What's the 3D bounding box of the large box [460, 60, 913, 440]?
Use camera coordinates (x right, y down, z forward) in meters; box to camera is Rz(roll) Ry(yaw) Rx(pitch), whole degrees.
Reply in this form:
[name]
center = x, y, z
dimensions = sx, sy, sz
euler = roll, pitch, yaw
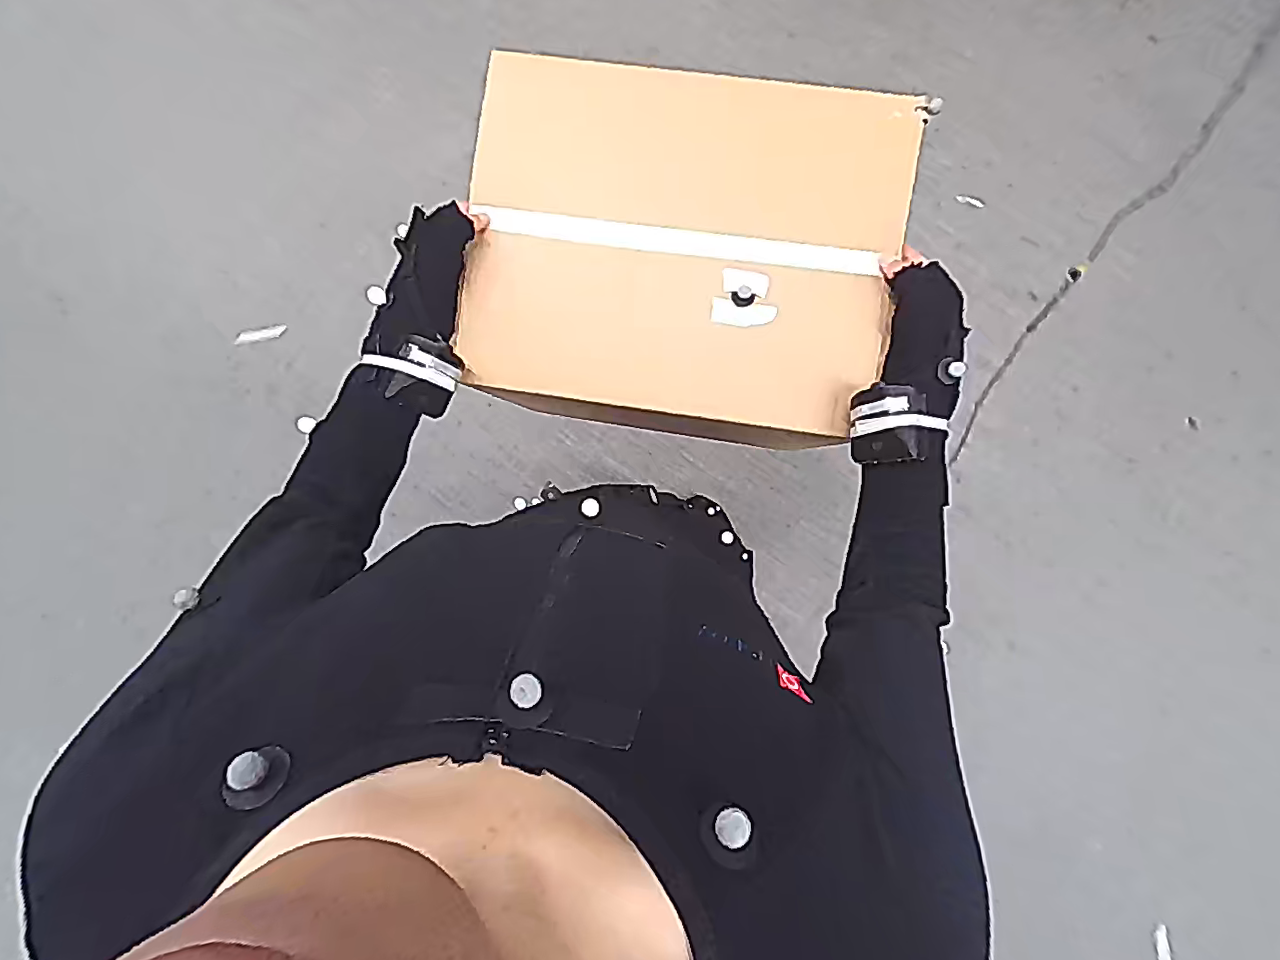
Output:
[large box]
center = 0.044, -0.230, 0.658
dimensions = 0.408, 0.320, 0.320
euler = 8, 92, 3
